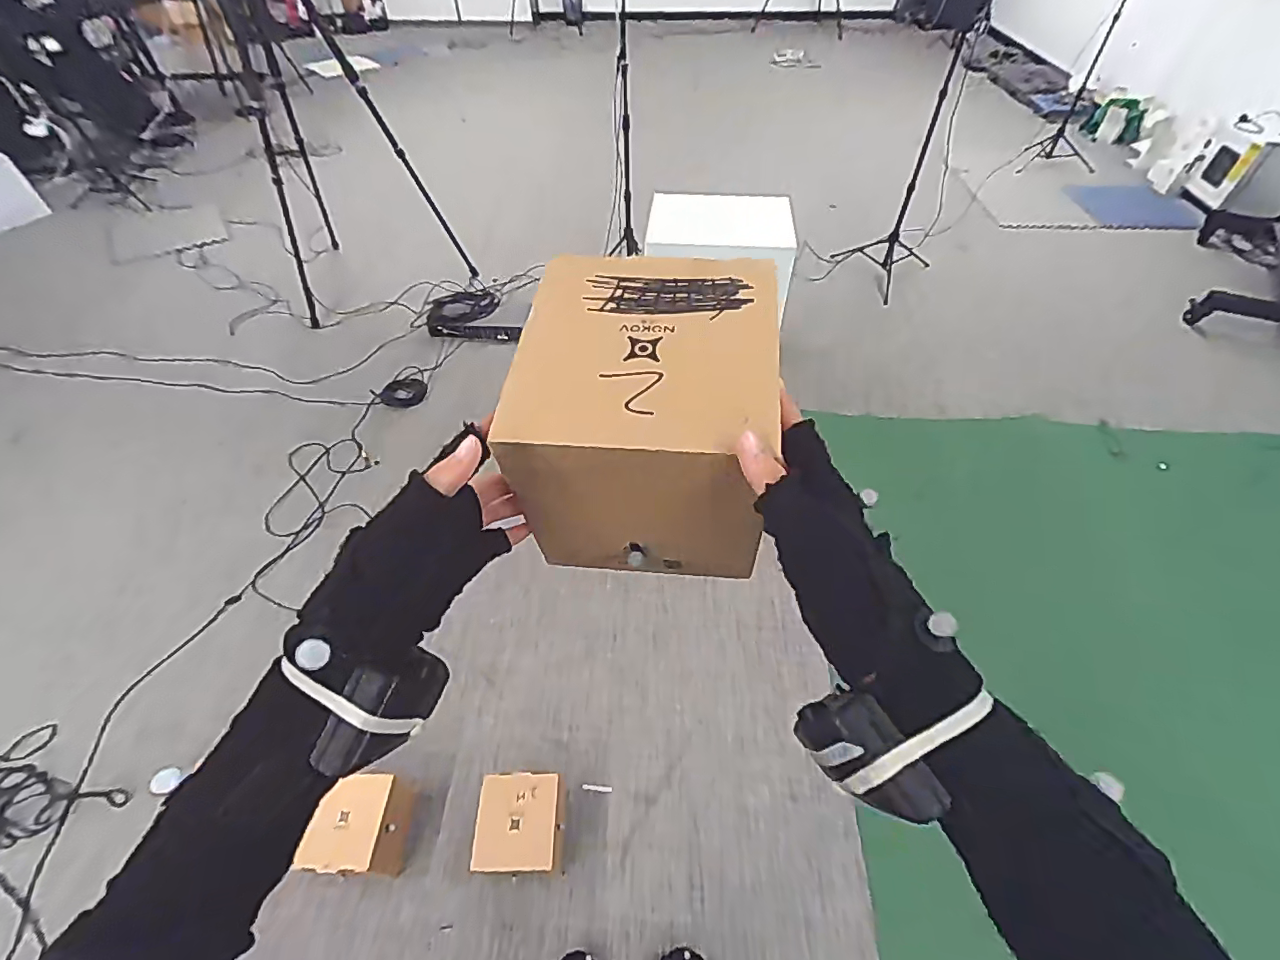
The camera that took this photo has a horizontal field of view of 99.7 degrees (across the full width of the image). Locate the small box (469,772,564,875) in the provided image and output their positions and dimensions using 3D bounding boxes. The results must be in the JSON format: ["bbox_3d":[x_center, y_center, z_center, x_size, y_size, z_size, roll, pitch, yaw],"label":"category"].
[{"bbox_3d":[-0.261,0.757,1.188,0.168,0.176,0.179,0,50,-1],"label":"small box"}]

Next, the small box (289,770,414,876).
[{"bbox_3d":[-0.621,0.758,1.193,0.168,0.176,0.179,0,51,1],"label":"small box"}]
